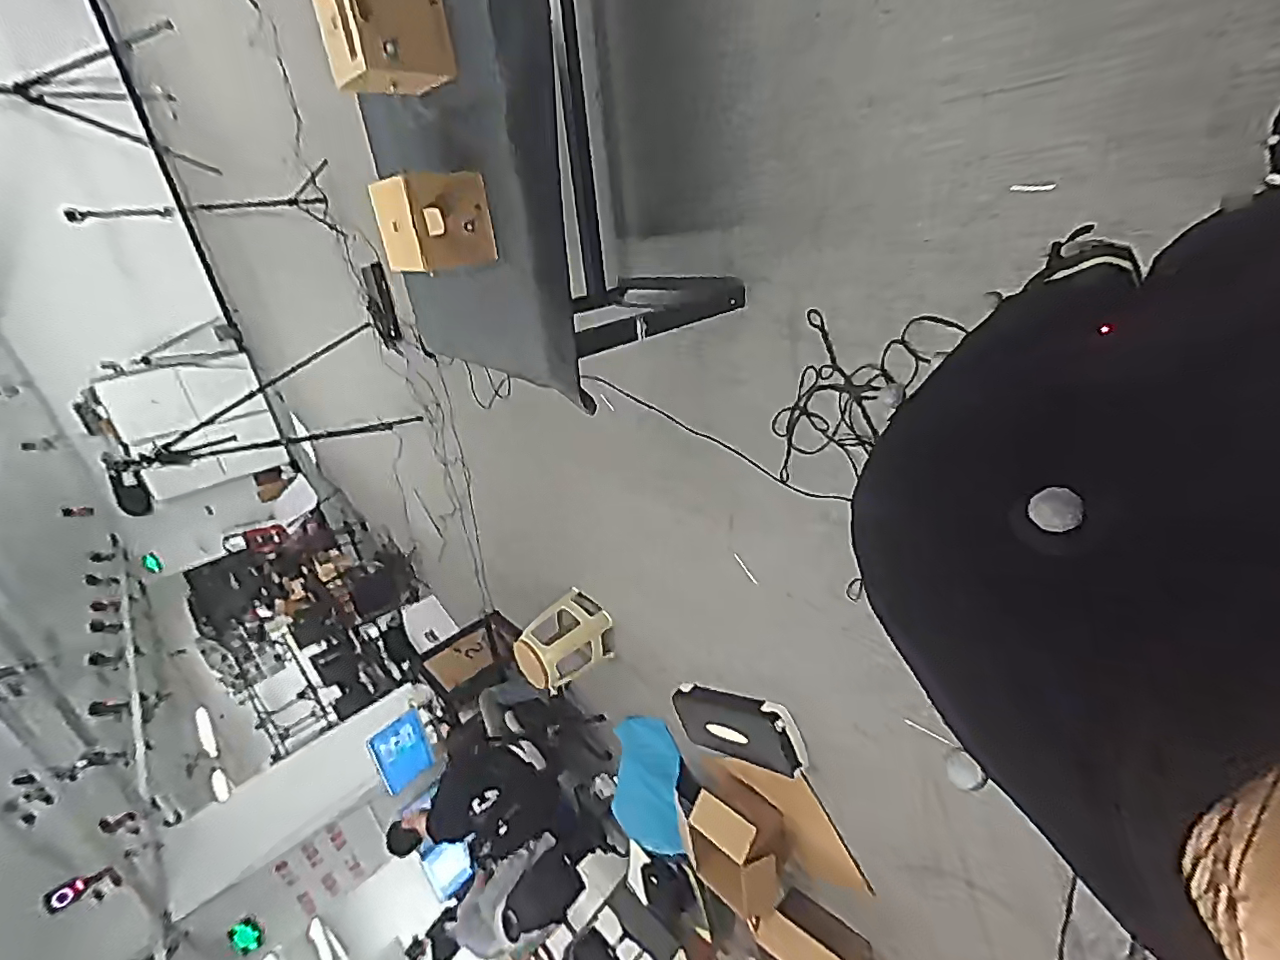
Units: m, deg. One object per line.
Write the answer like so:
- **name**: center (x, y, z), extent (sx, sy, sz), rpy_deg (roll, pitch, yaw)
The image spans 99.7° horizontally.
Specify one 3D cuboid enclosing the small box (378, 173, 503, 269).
- **small box**: center (-0.410, -0.535, 1.122), extent (0.179, 0.176, 0.168), rpy_deg (20, 126, 42)
